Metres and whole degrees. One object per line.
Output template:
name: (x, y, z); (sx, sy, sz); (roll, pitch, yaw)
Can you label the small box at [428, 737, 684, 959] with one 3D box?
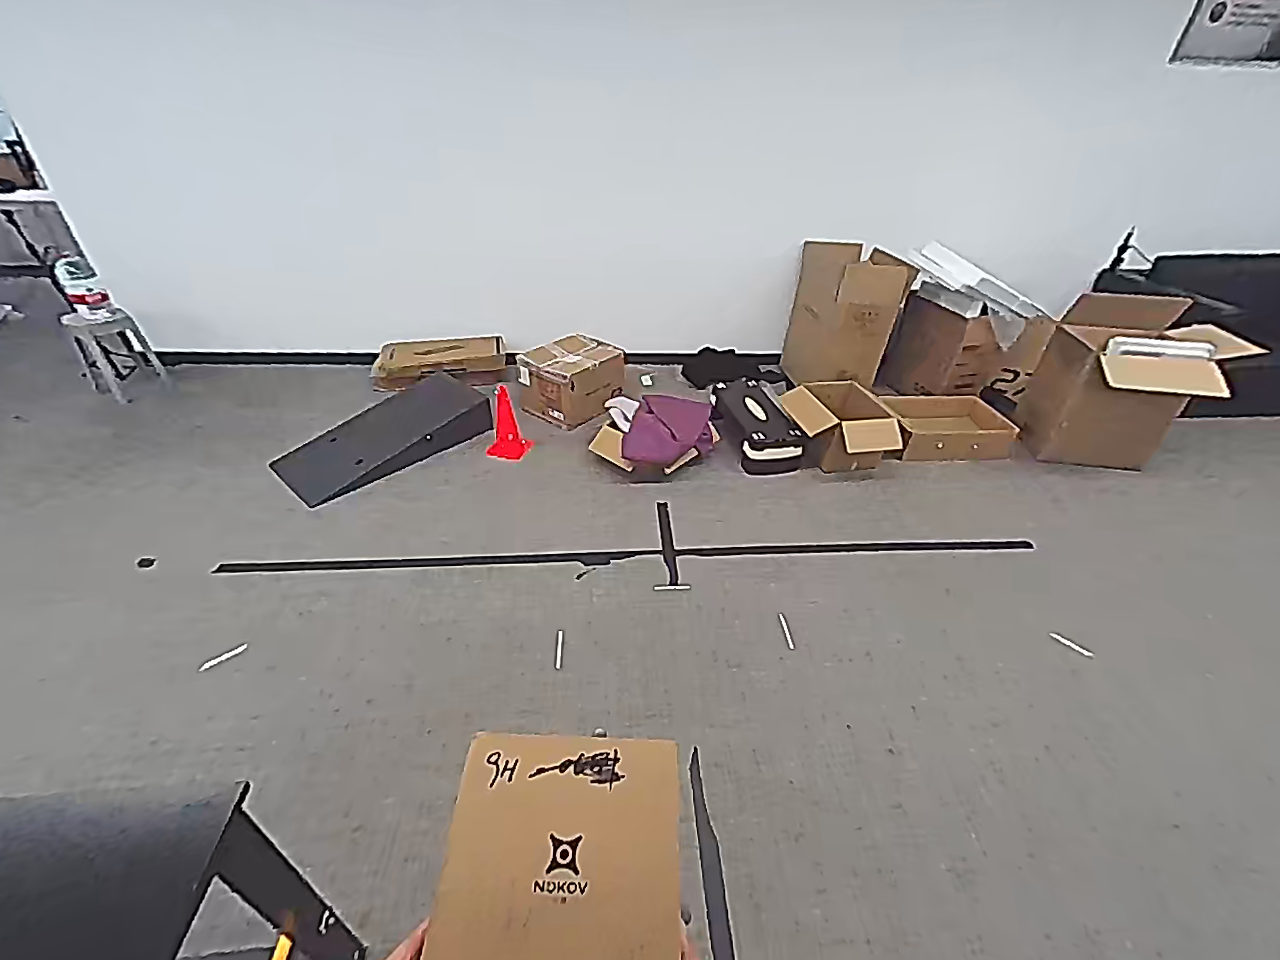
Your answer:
small box: (-0.051, 0.324, 0.430); (0.168, 0.176, 0.179); (2, 48, 0)
